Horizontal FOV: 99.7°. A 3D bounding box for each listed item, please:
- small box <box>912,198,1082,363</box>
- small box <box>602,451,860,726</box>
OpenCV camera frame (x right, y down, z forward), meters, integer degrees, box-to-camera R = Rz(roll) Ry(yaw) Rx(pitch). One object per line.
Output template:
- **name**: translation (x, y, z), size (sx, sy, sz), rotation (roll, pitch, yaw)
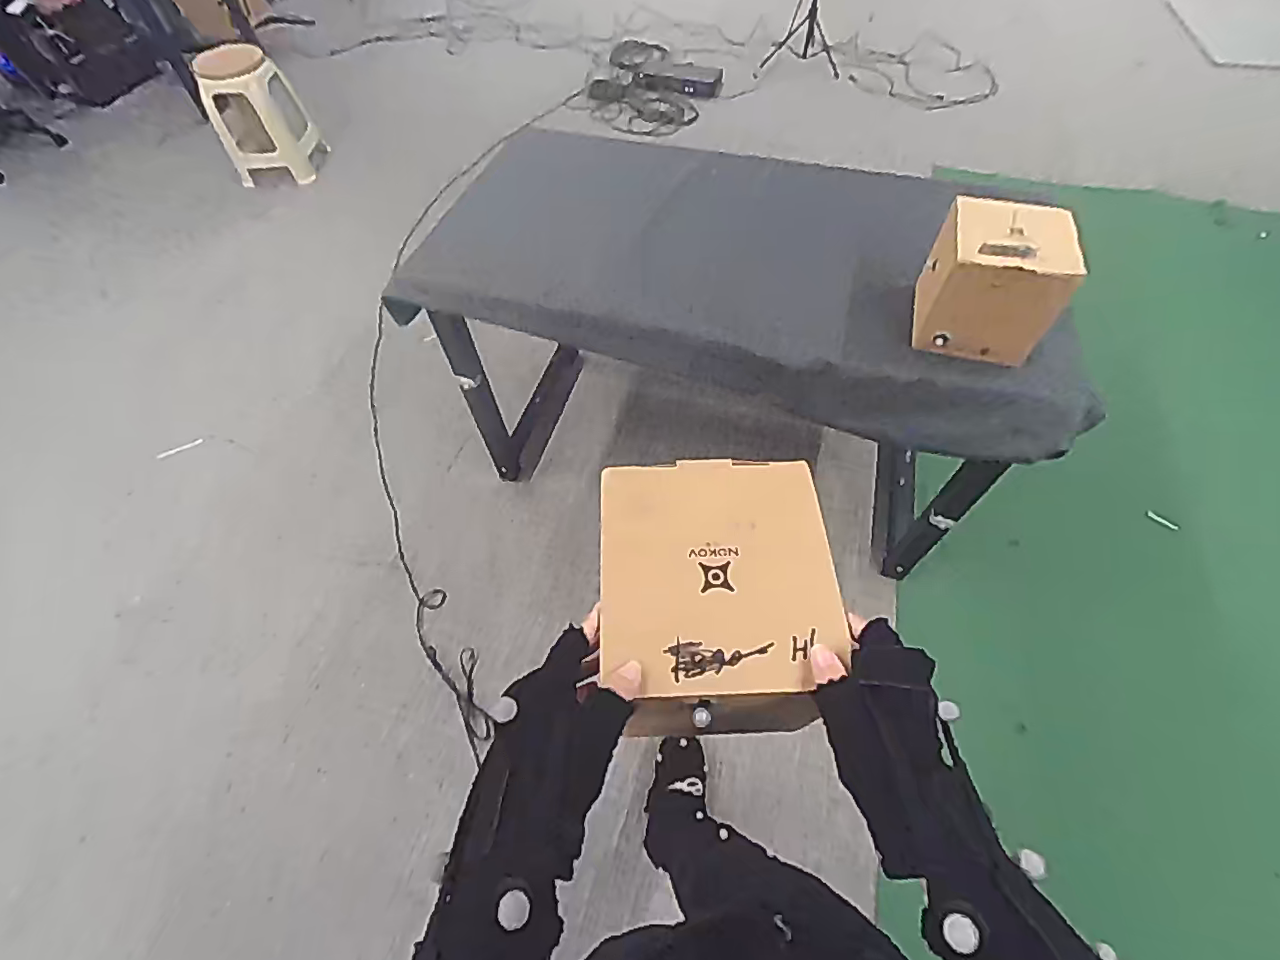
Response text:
- **small box**: translation (0.548, -0.311, 0.855), size (0.168, 0.176, 0.179), rotation (14, 57, 11)
- **small box**: translation (0.056, 0.095, 0.452), size (0.168, 0.176, 0.179), rotation (-2, 56, 0)
